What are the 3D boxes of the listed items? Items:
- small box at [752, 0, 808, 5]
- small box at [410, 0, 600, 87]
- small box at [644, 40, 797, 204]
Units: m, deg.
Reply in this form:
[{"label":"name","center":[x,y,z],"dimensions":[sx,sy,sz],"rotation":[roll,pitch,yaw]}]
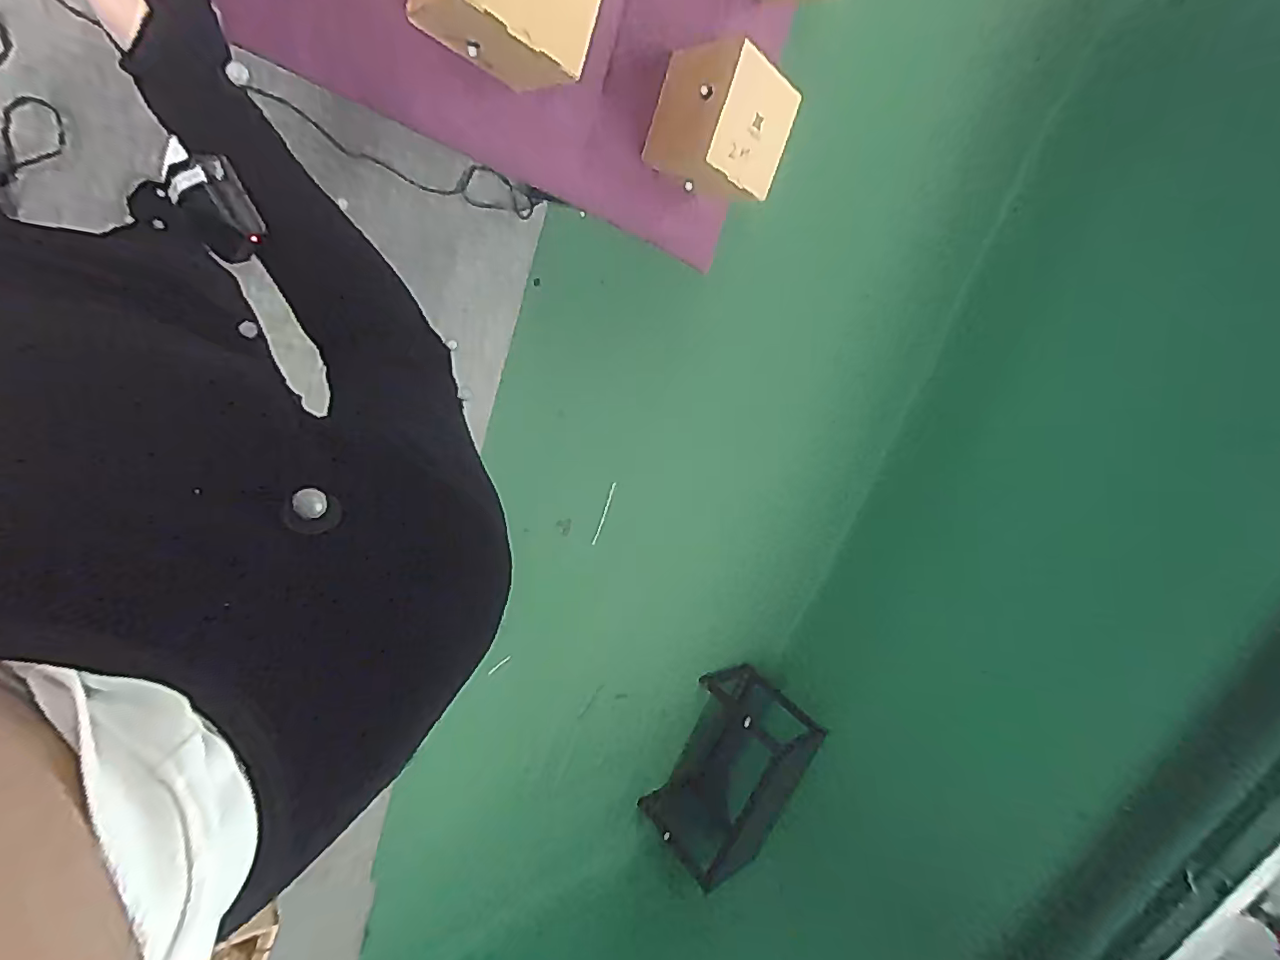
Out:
[{"label":"small box","center":[0.239,-0.897,0.844],"dimensions":[0.168,0.176,0.179],"rotation":[4,115,-42]},{"label":"small box","center":[-0.160,-0.620,0.659],"dimensions":[0.168,0.176,0.179],"rotation":[4,113,-45]},{"label":"small box","center":[0.133,-0.608,0.938],"dimensions":[0.168,0.176,0.179],"rotation":[5,111,-44]}]
